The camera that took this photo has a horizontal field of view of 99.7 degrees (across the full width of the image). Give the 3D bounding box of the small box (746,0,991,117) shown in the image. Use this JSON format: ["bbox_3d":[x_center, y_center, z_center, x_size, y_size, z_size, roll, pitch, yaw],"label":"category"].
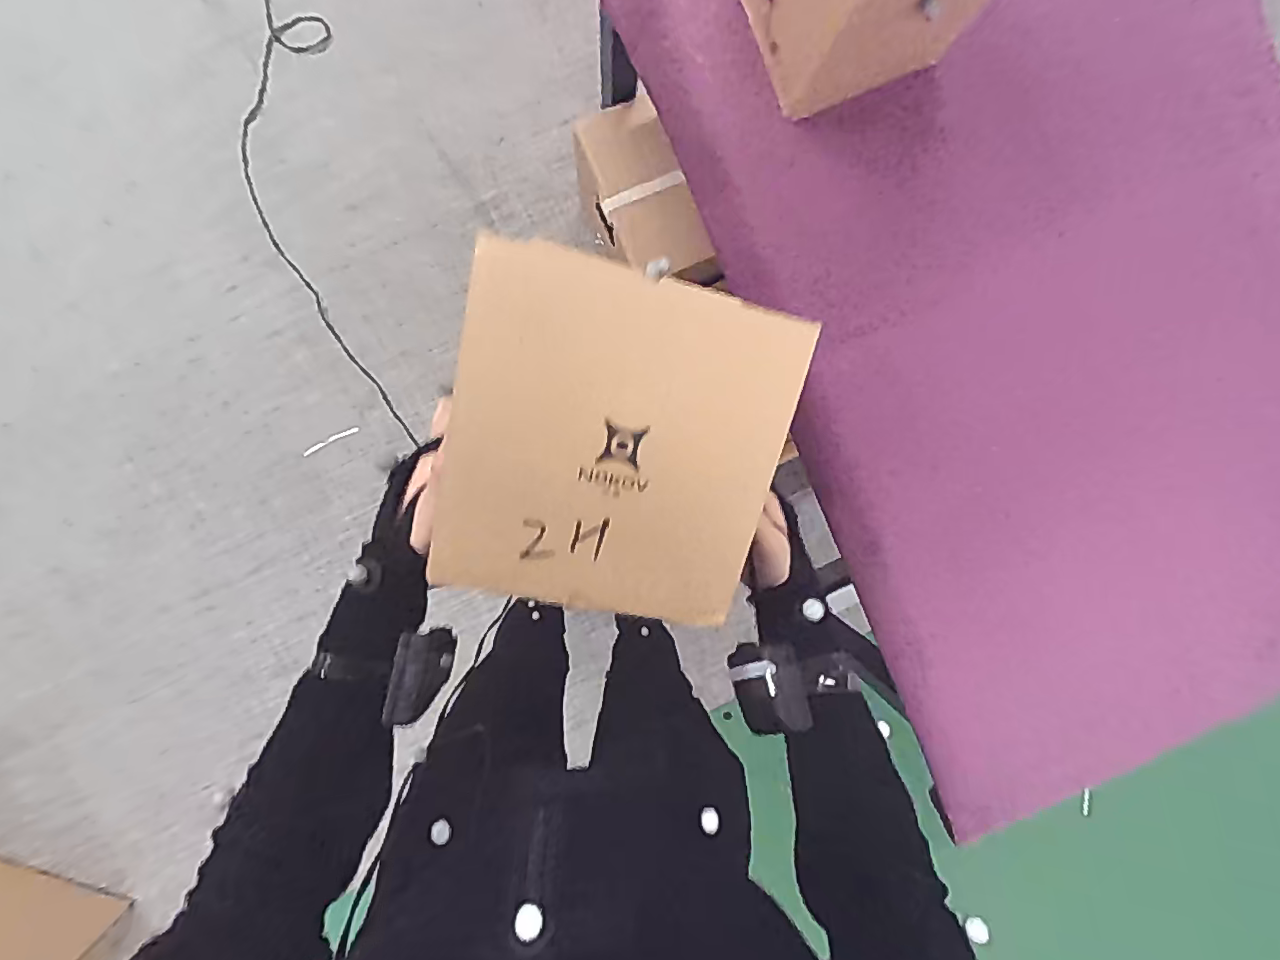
[{"bbox_3d":[0.213,-0.477,0.485,0.179,0.176,0.168,-23,95,-1],"label":"small box"}]

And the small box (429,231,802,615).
[{"bbox_3d":[-0.024,-0.040,0.356,0.168,0.176,0.179,11,105,-10],"label":"small box"}]
